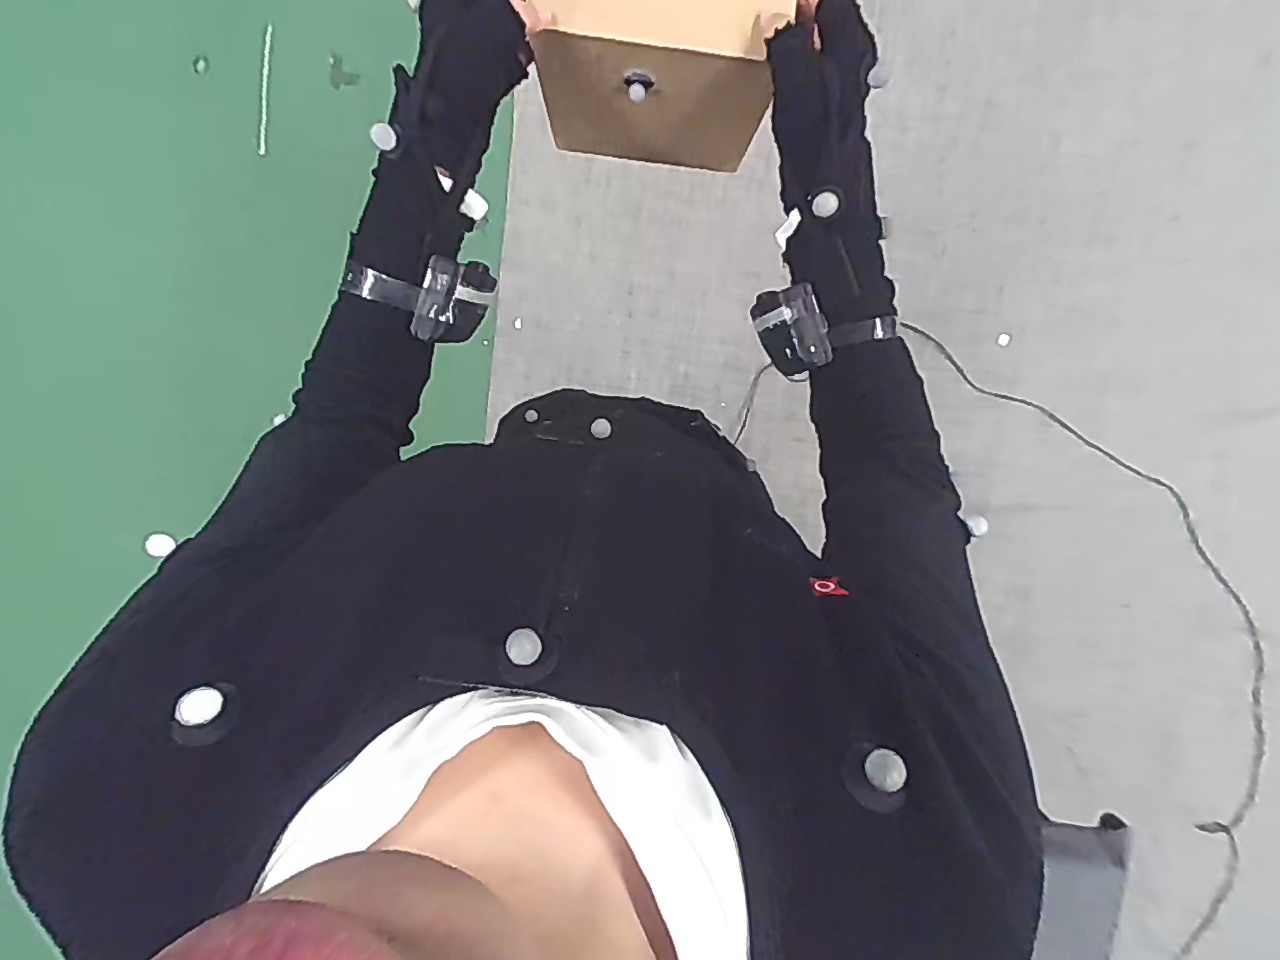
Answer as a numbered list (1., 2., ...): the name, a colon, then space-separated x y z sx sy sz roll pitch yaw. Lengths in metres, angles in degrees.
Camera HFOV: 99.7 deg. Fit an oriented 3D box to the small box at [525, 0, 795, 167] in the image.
1. small box: 0.018 -0.374 0.424 0.179 0.176 0.168 6 98 -3
